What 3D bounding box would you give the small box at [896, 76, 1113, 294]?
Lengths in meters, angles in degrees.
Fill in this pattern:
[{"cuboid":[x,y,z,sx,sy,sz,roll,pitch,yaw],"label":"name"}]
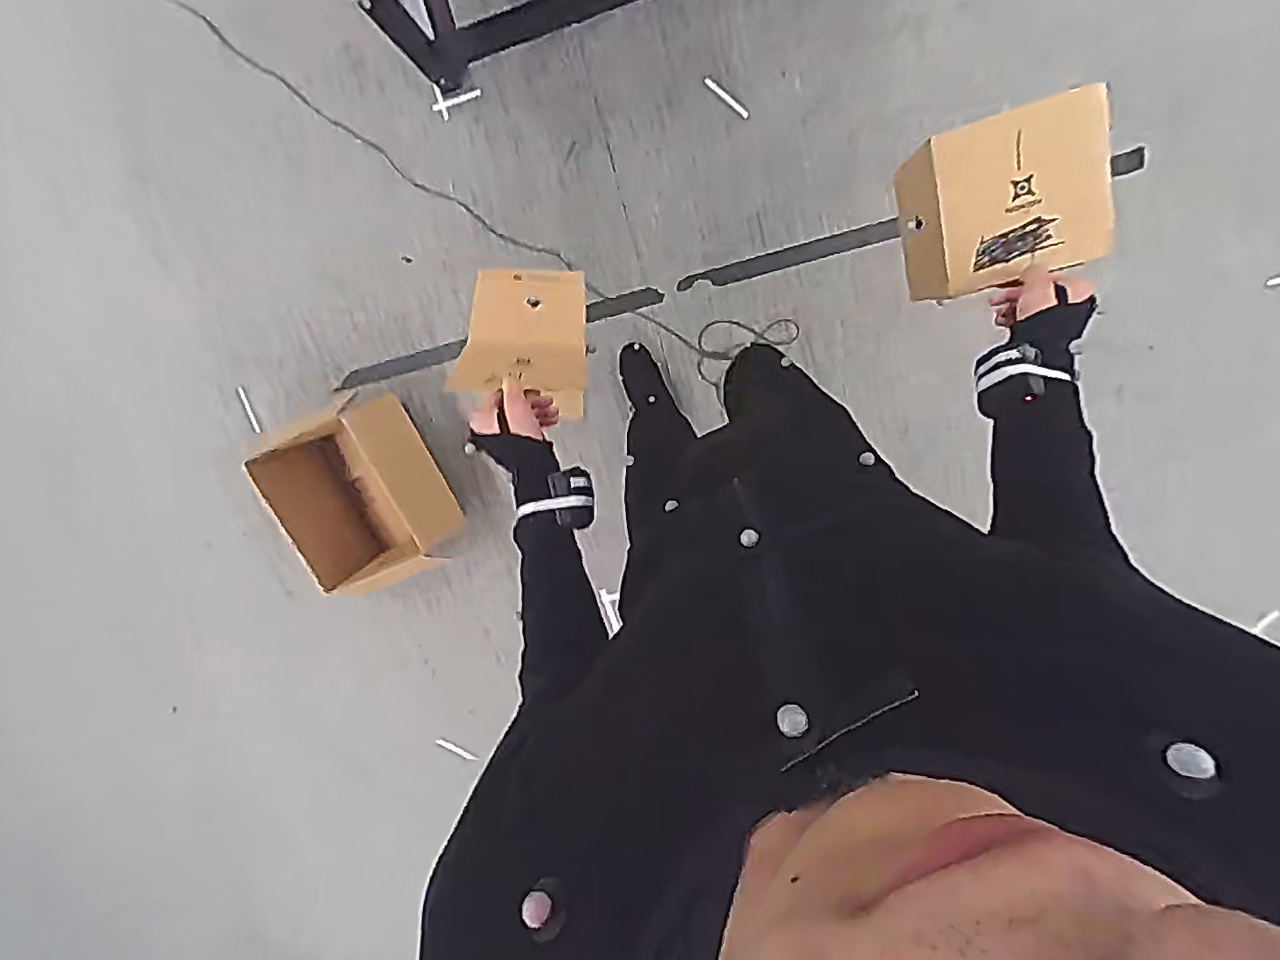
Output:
[{"cuboid":[0.425,-0.333,0.654,0.168,0.176,0.179,-11,104,14],"label":"small box"}]
